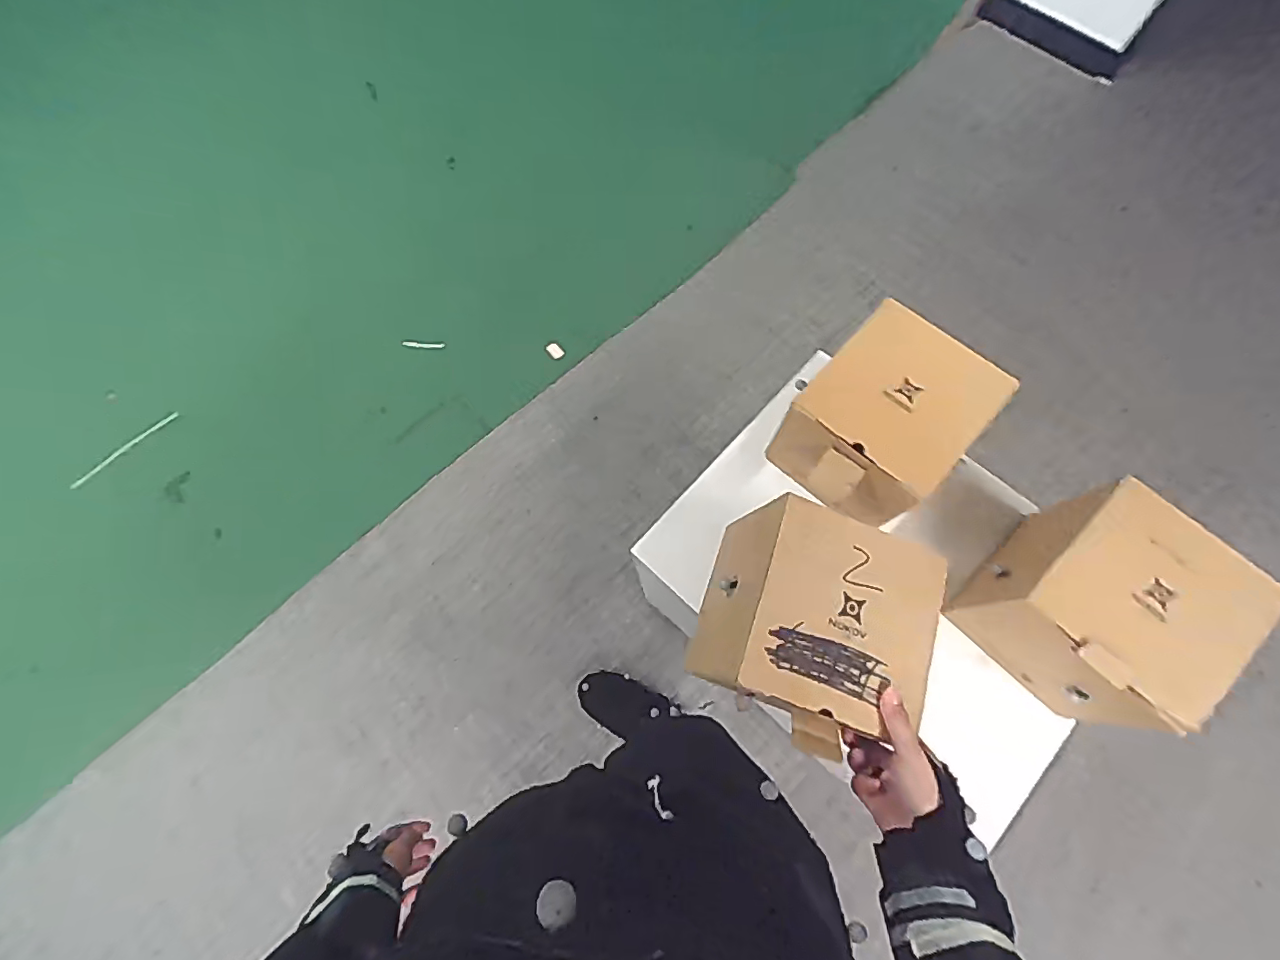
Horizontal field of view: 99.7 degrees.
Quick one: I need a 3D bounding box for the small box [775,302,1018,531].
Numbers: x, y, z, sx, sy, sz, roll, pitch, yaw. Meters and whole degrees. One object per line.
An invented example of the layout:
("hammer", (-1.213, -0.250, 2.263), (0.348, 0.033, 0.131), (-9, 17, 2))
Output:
("small box", (0.283, -0.065, 0.642), (0.168, 0.176, 0.179), (41, 80, 13))
